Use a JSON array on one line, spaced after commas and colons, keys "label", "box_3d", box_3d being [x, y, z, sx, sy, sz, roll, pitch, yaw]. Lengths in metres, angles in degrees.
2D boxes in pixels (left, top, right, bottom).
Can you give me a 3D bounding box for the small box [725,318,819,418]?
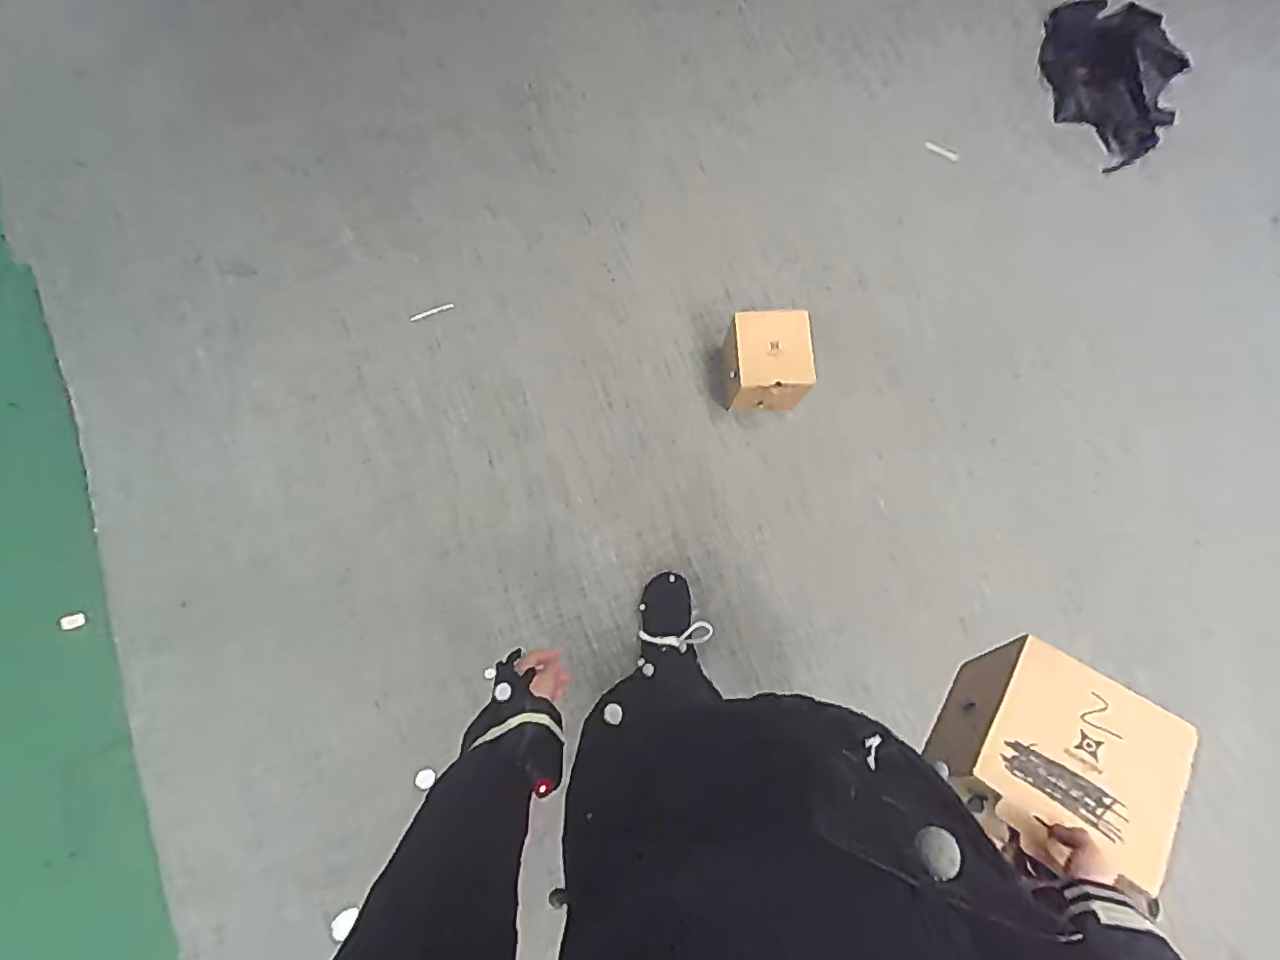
[{"label": "small box", "box_3d": [0.295, -0.253, 1.245, 0.168, 0.176, 0.179, -2, 79, -2]}]
